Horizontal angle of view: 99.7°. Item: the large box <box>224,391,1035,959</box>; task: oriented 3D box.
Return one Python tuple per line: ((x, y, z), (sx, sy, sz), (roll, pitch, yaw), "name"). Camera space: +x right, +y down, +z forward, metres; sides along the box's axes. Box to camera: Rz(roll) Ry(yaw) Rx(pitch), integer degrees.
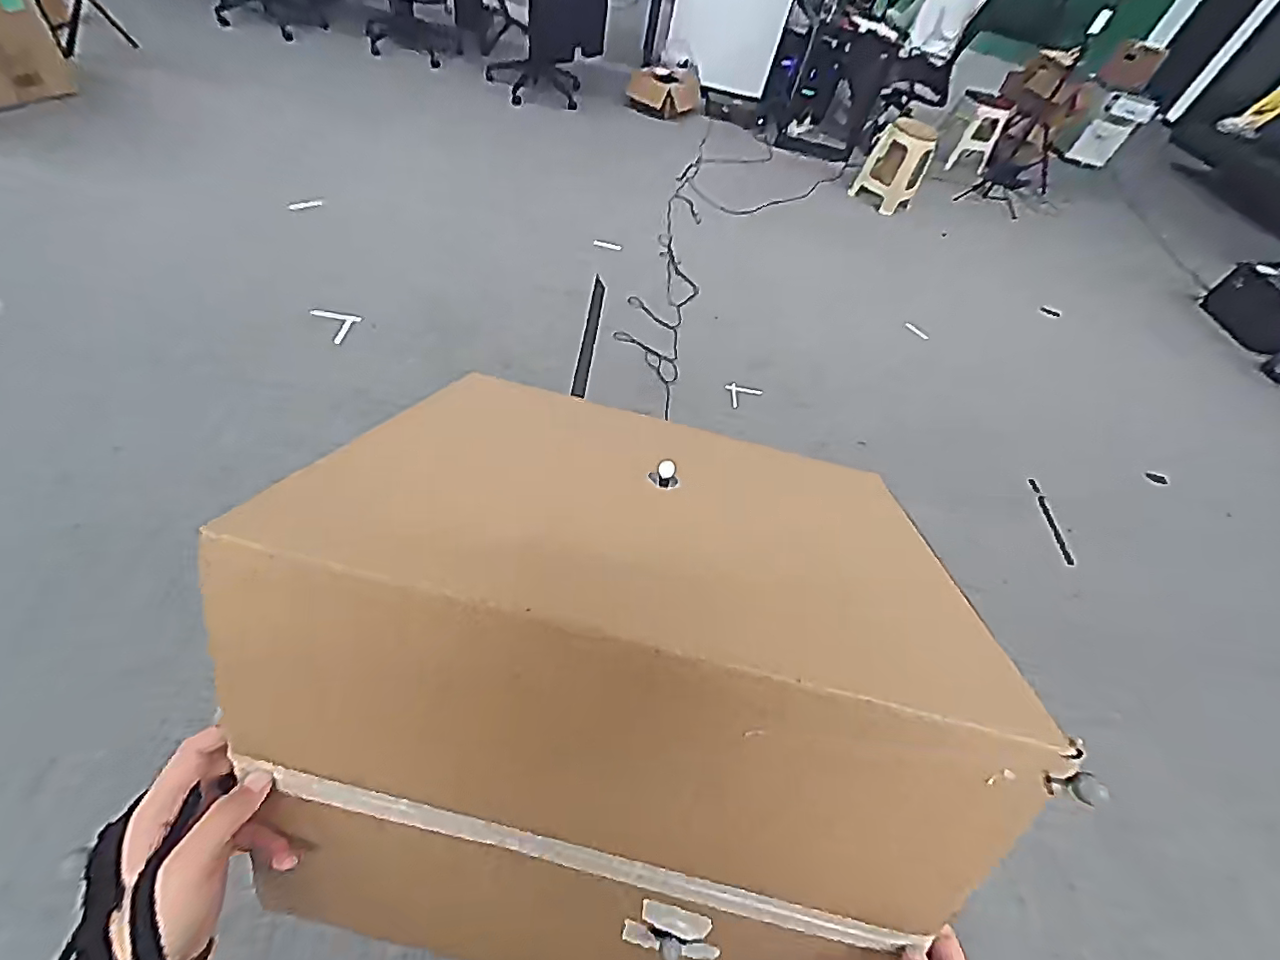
((-0.022, 0.145, 0.452), (0.408, 0.320, 0.320), (13, 26, 1), "large box")
